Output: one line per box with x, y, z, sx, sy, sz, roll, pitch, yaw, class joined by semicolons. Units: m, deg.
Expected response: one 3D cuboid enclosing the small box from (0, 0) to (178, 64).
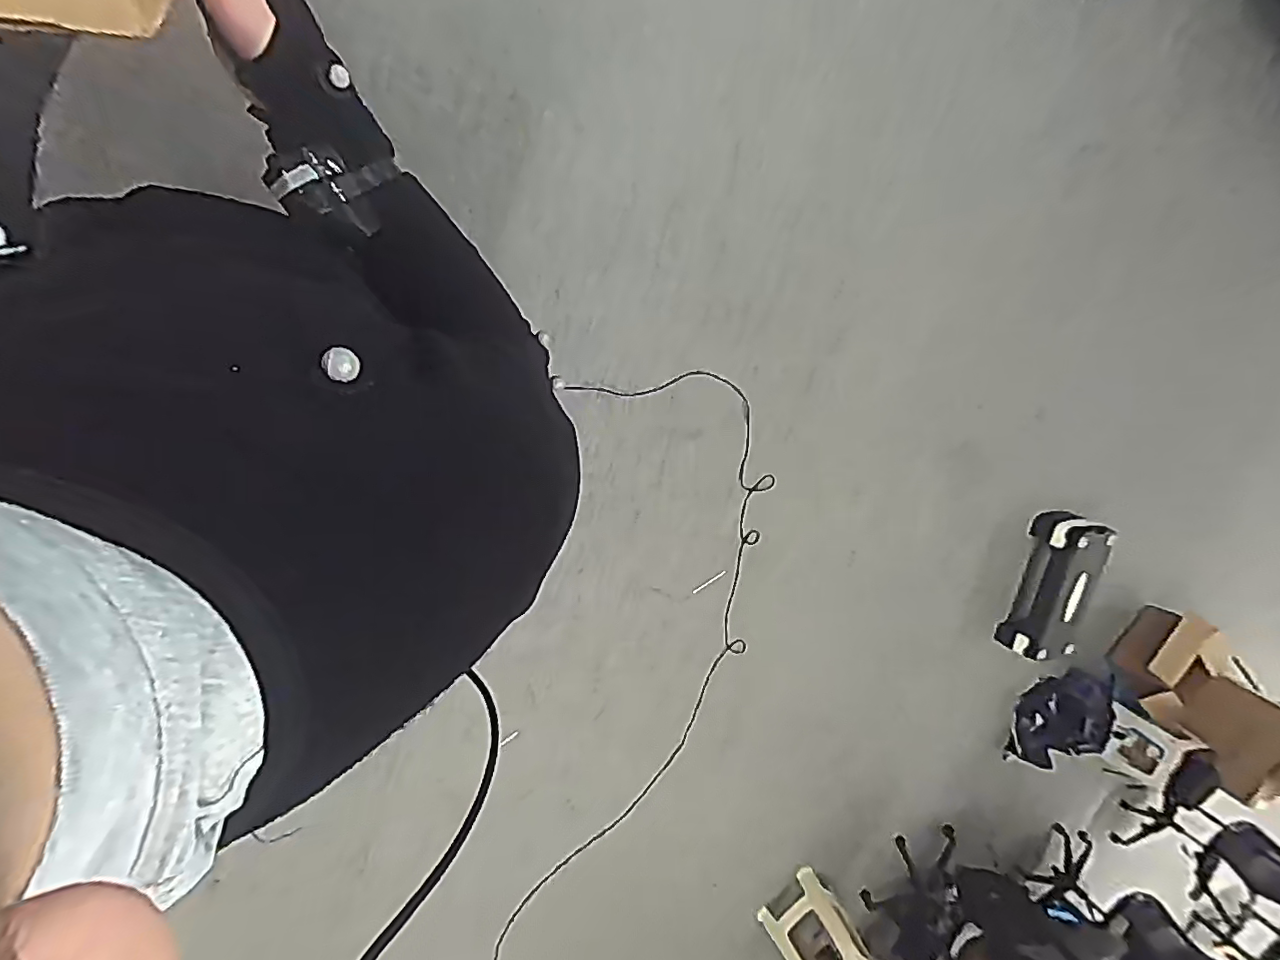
-0.312;-0.306;0.213;0.168;0.176;0.179;-10;144;-21;small box
